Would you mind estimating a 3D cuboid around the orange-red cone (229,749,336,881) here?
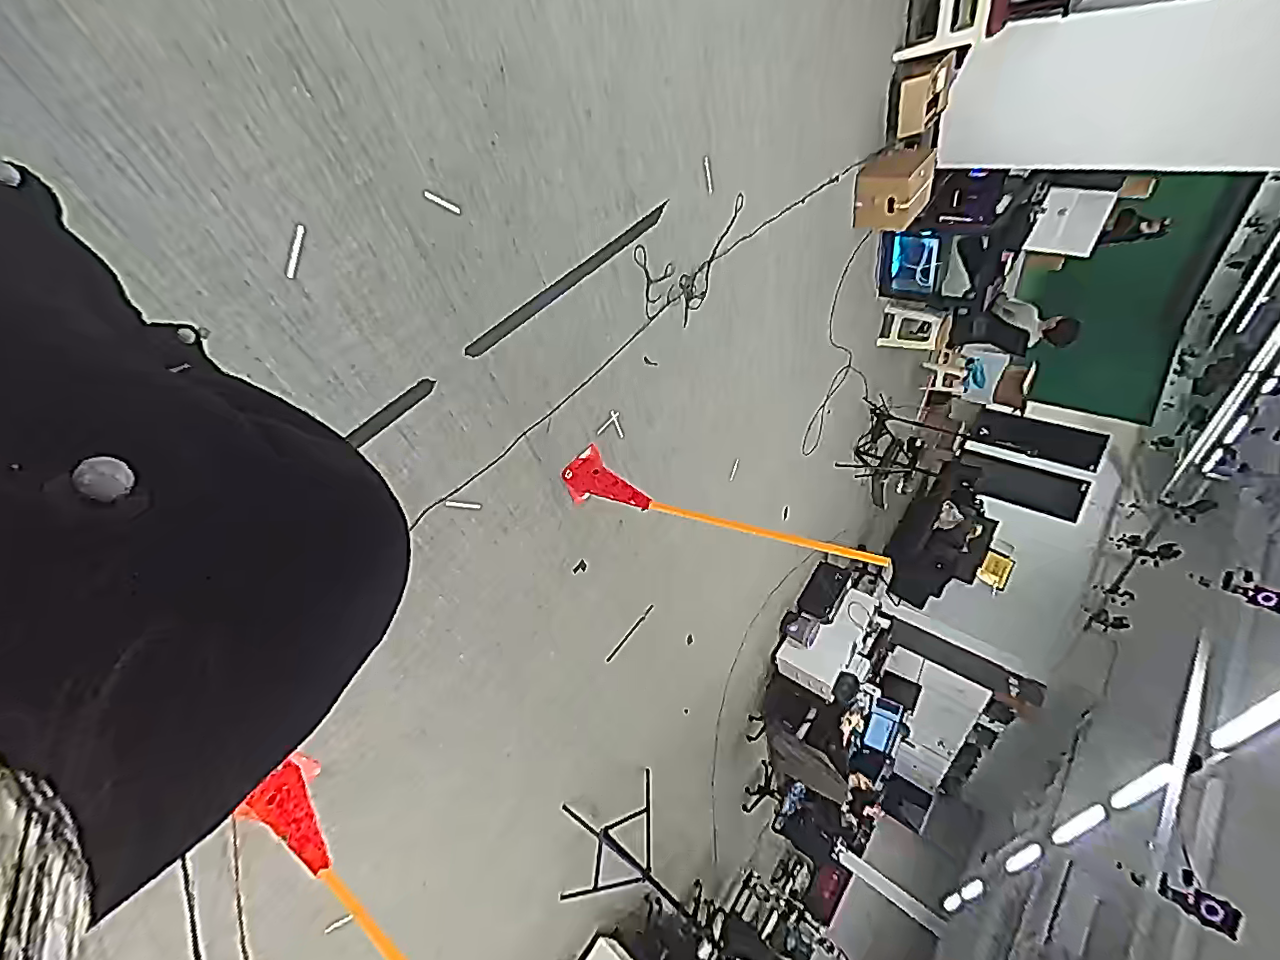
[{"bbox_3d":[-0.943,0.970,1.506,0.199,0.360,0.198,-45,139,-27],"label":"orange-red cone"}]
